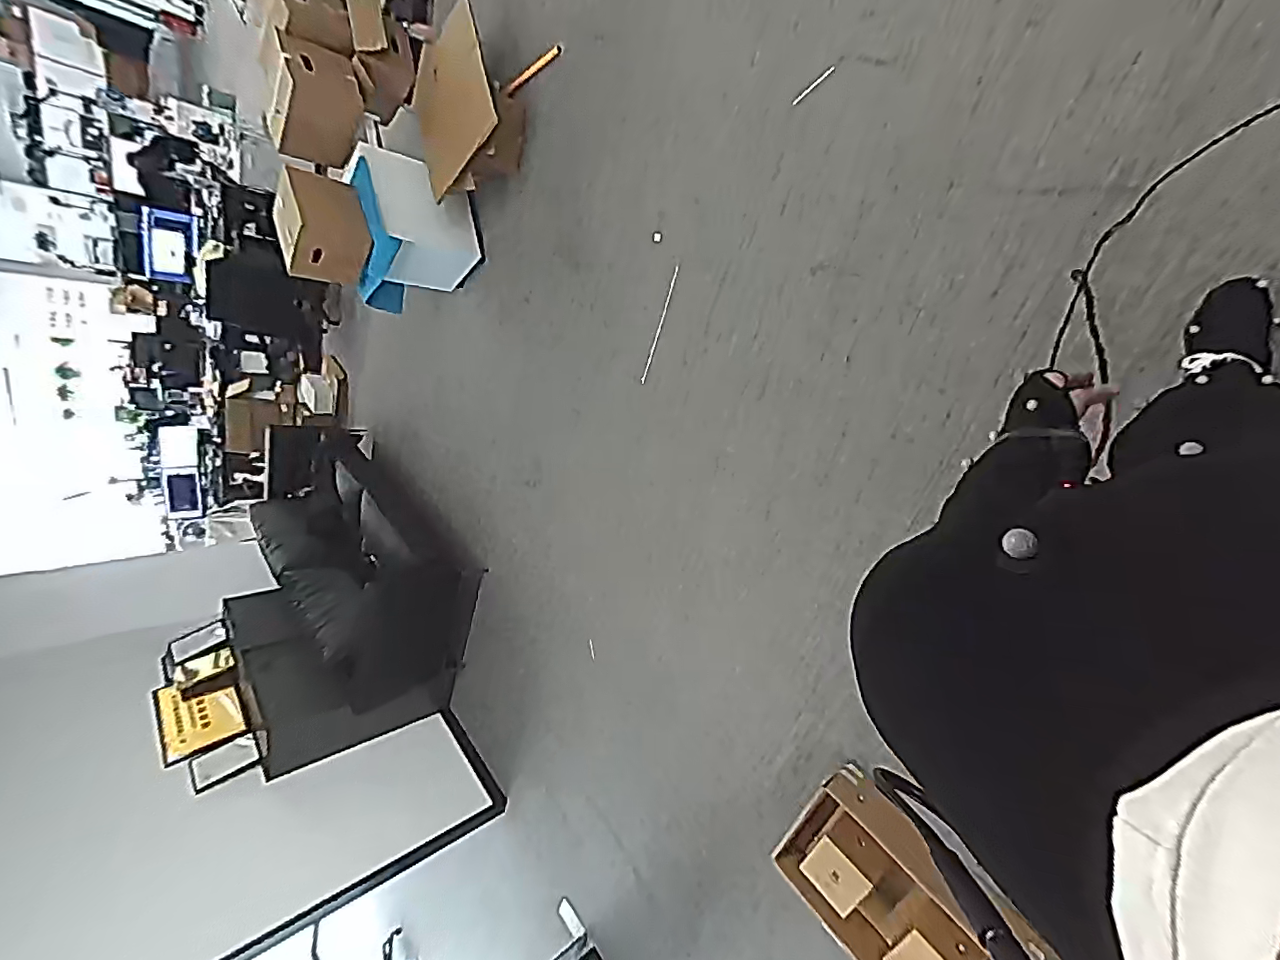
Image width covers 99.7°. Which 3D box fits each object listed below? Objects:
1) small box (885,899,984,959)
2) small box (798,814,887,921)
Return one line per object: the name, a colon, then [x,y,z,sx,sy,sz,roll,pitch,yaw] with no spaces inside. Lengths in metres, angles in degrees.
small box: [0.803,1.304,1.472,0.168,0.176,0.179,39,120,36]
small box: [0.618,1.161,1.636,0.168,0.176,0.179,40,120,35]
